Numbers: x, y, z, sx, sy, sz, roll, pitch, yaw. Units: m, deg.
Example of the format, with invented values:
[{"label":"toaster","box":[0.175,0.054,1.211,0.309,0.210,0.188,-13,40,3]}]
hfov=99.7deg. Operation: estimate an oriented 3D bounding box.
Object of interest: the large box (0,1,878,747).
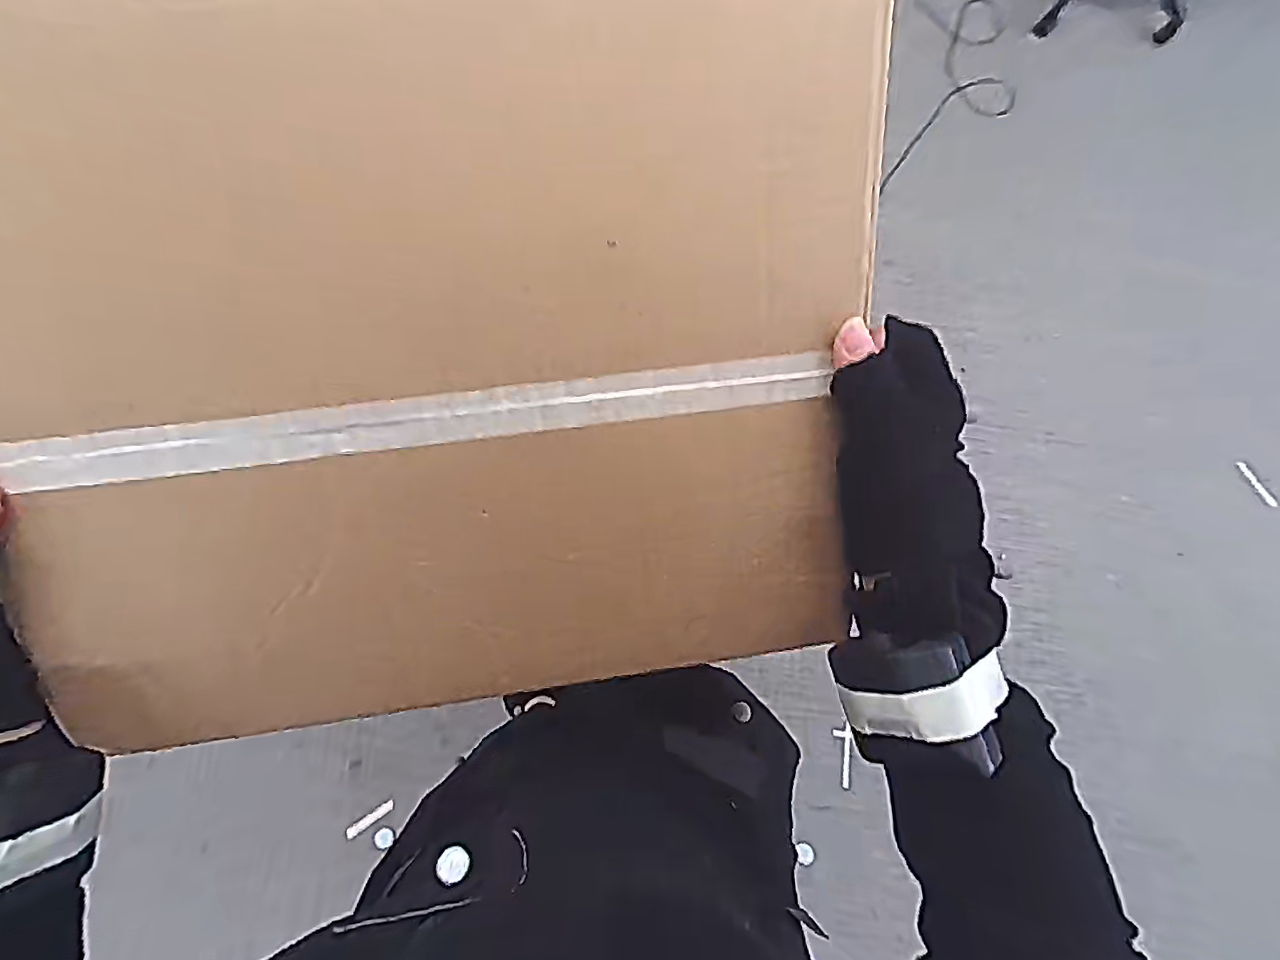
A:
[{"label":"large box","box":[-0.105,-0.075,0.388,0.408,0.320,0.320,-7,111,-5]}]
